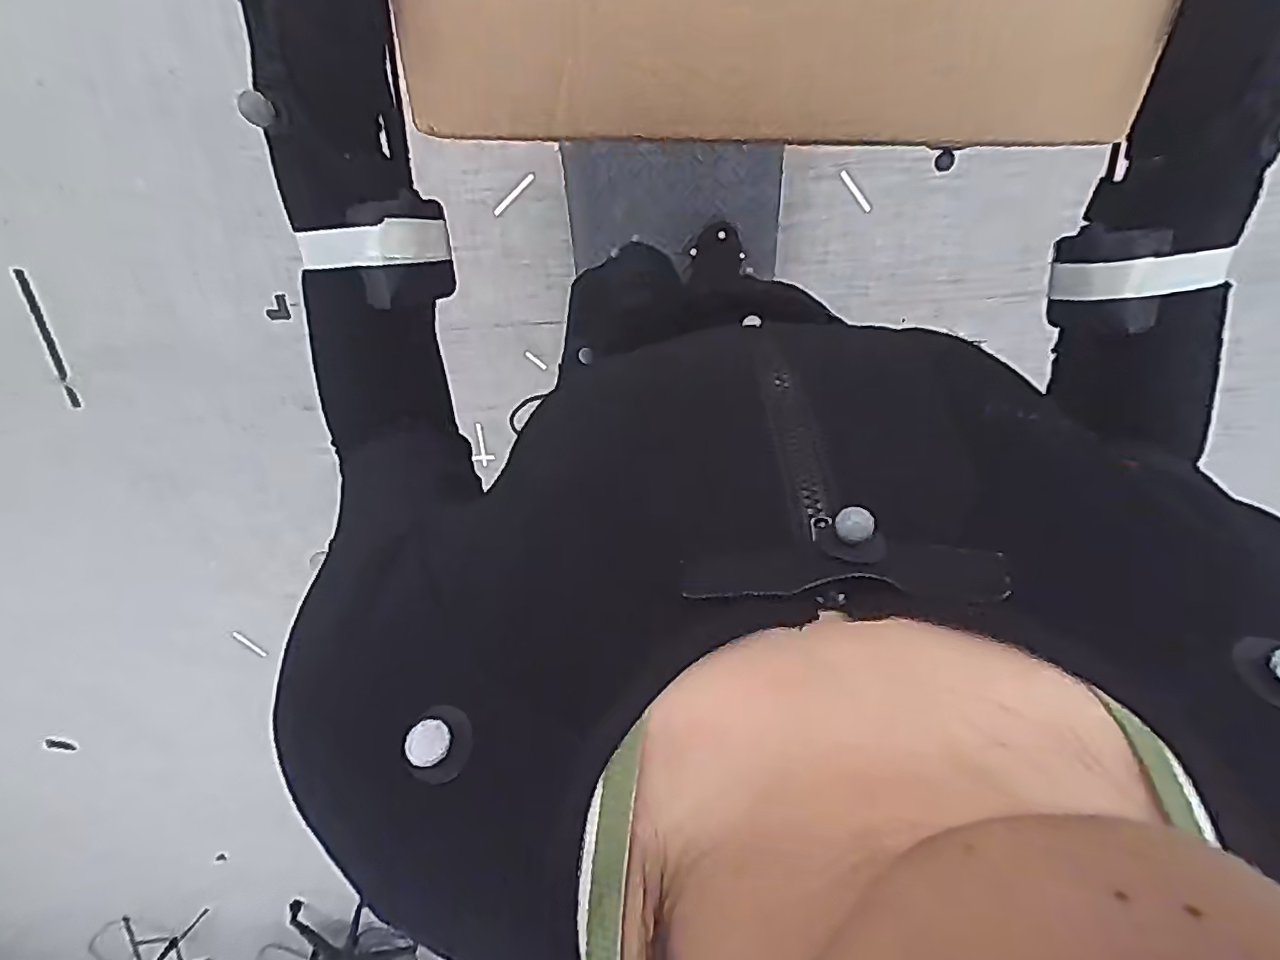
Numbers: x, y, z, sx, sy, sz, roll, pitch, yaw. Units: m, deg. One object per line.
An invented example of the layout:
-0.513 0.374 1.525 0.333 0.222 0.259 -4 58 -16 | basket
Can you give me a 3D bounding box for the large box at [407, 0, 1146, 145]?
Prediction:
0.073 -0.414 0.358 0.408 0.320 0.320 0 123 -2 | large box
